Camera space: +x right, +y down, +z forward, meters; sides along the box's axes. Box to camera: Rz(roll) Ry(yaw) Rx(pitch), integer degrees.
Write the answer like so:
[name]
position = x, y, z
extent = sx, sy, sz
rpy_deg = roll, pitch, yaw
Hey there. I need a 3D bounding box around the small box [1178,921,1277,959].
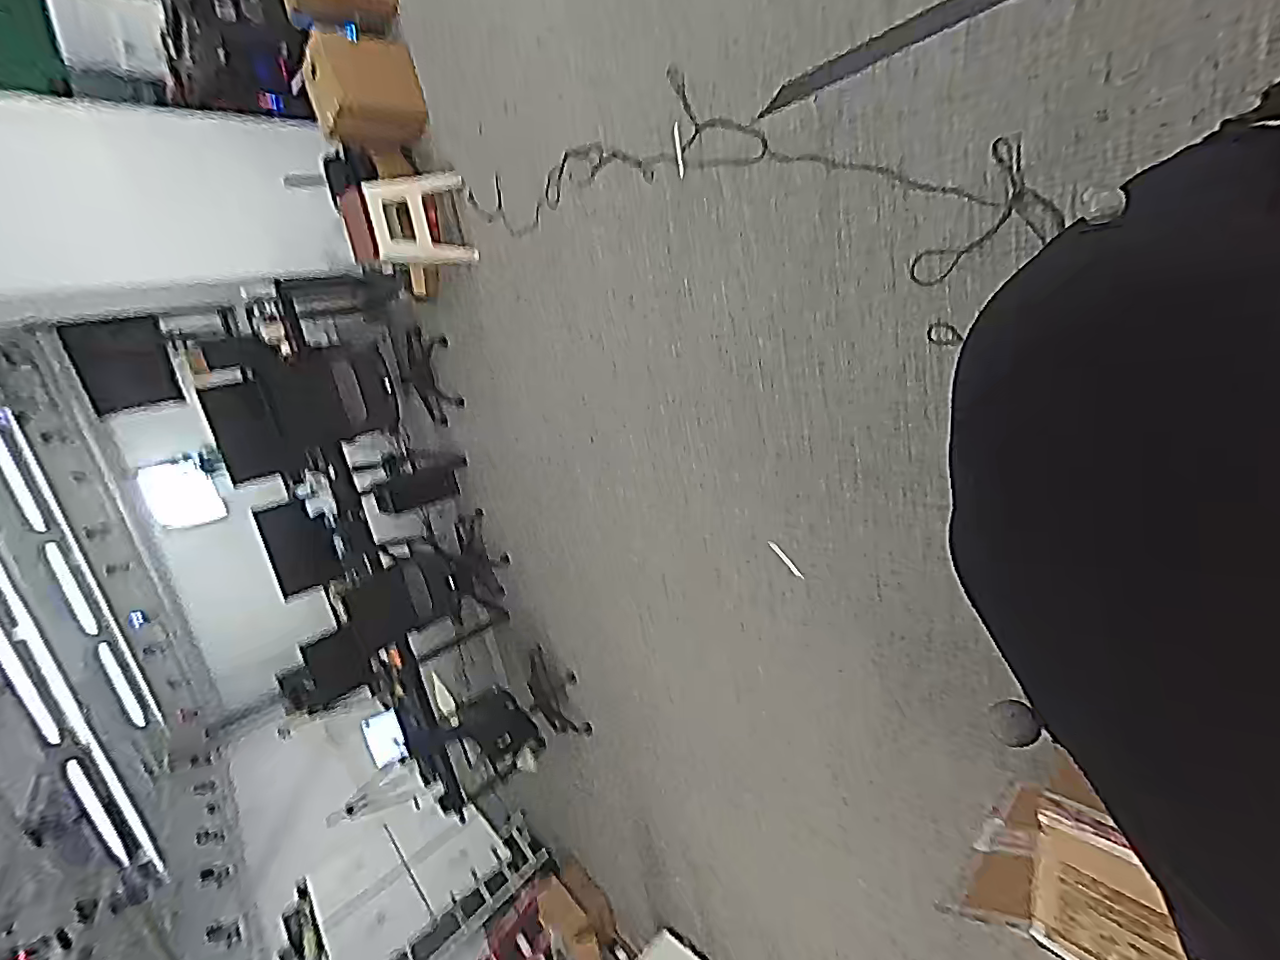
[small box]
position = 0.832, 0.757, 0.718
extent = 0.179, 0.176, 0.168
rpy_deg = 12, 114, 48
